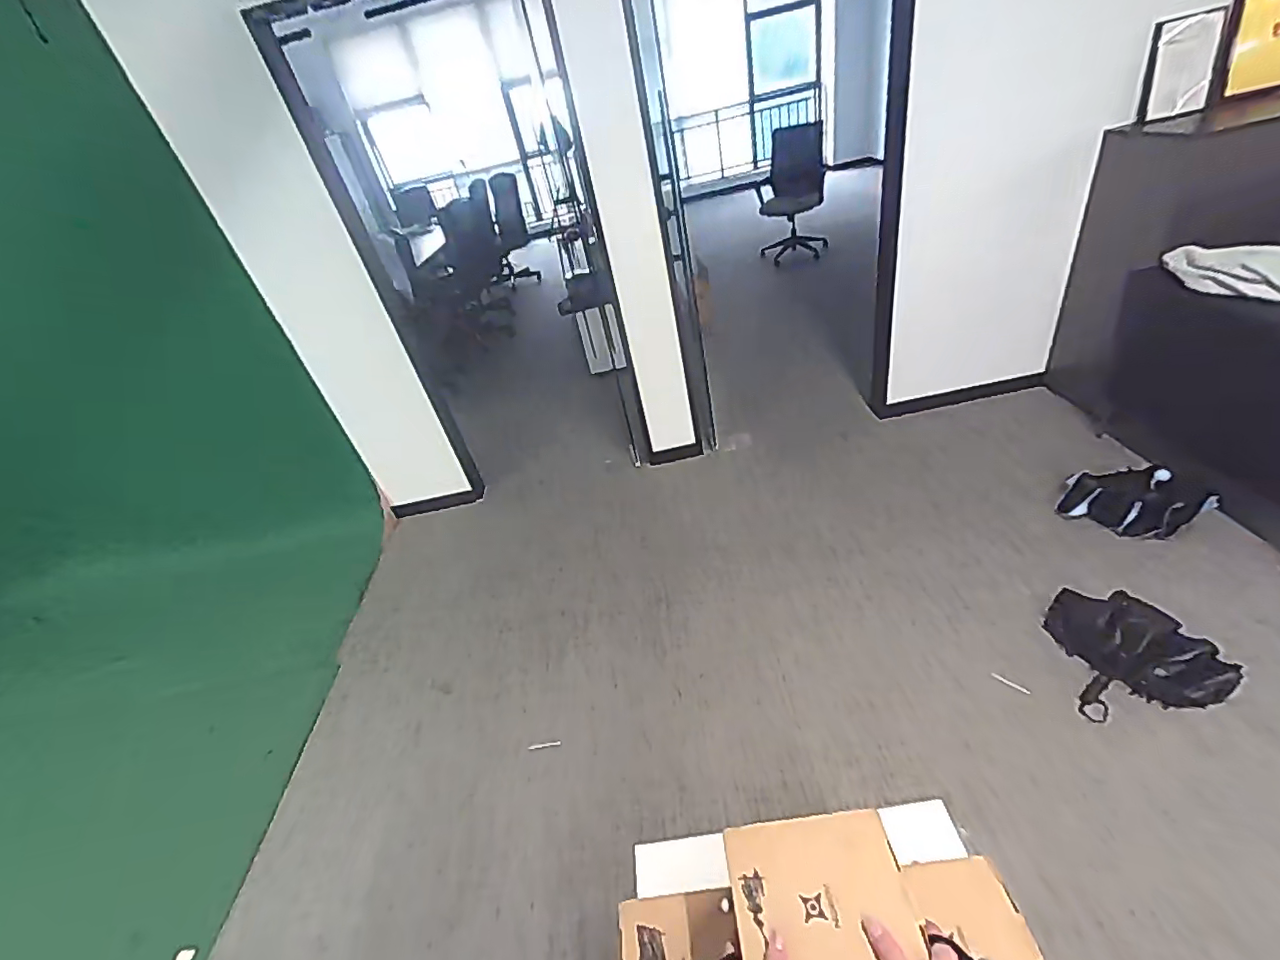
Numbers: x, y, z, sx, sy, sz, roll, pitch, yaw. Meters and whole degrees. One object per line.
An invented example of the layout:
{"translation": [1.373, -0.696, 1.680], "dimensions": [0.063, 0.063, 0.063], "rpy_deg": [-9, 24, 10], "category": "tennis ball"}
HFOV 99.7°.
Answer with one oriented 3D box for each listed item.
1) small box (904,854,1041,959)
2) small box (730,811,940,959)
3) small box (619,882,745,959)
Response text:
{"translation": [0.370, 0.591, 0.664], "dimensions": [0.179, 0.176, 0.168], "rpy_deg": [-10, 36, 5], "category": "small box"}
{"translation": [0.198, 0.486, 0.580], "dimensions": [0.179, 0.176, 0.168], "rpy_deg": [-9, 36, 3], "category": "small box"}
{"translation": [0.075, 0.640, 0.681], "dimensions": [0.179, 0.176, 0.168], "rpy_deg": [-8, 36, 2], "category": "small box"}
